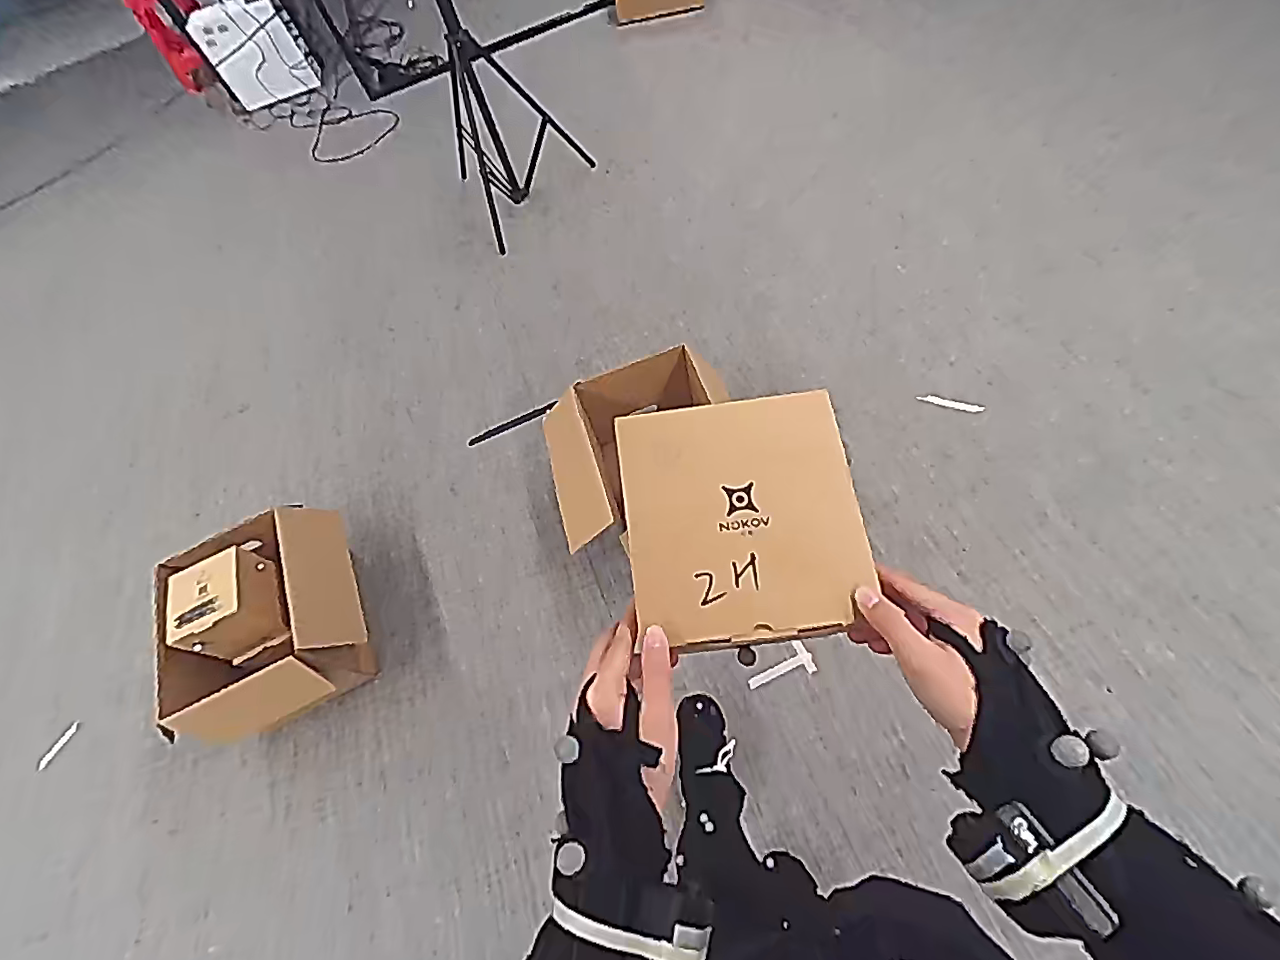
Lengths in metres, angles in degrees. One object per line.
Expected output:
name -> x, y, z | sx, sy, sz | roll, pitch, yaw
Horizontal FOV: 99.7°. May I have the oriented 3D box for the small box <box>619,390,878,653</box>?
small box -> 0.075, 0.046, 0.466 | 0.168, 0.176, 0.179 | -7, 69, 2
